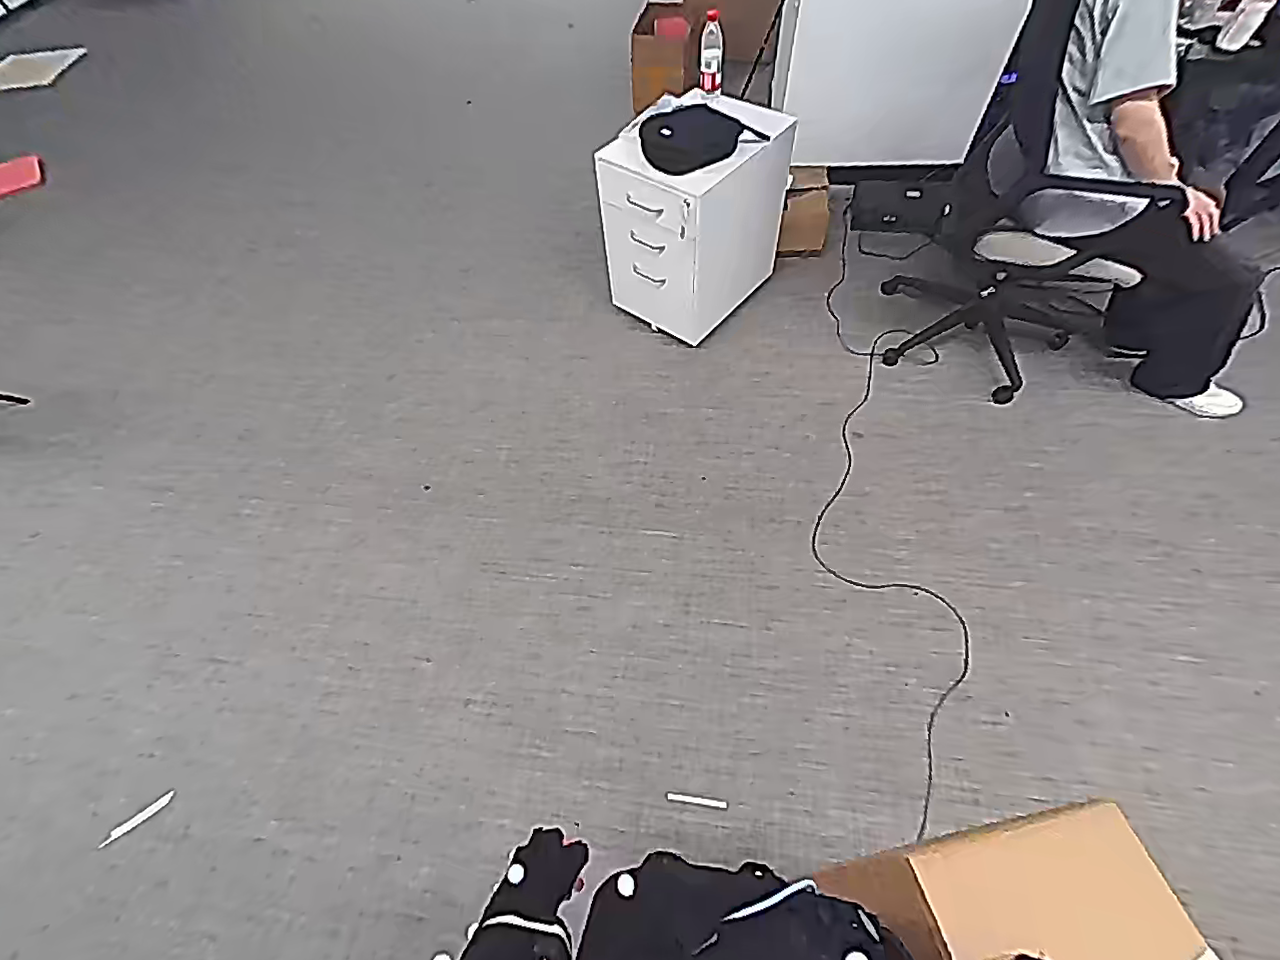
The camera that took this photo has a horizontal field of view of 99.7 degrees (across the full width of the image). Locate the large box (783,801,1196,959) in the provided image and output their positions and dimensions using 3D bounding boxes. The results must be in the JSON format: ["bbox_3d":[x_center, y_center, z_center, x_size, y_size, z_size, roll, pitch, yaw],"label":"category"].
[{"bbox_3d":[0.443,0.657,0.702,0.320,0.408,0.320,-3,51,-14],"label":"large box"}]
